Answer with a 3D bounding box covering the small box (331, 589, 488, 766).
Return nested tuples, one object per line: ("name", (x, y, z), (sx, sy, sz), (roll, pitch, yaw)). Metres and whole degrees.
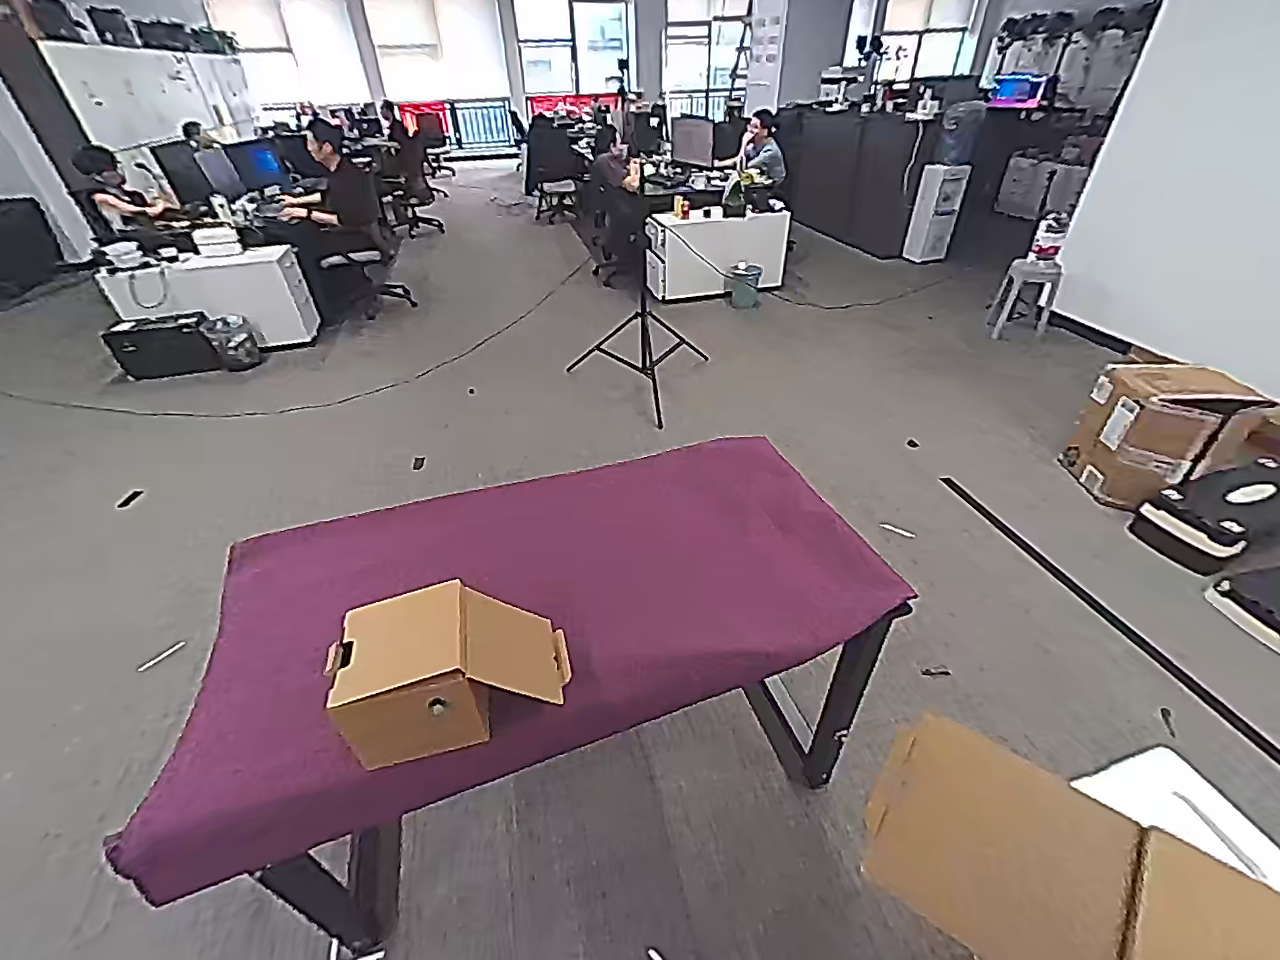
("small box", (-0.329, 0.296, 0.814), (0.179, 0.176, 0.168), (-10, 37, -10))
